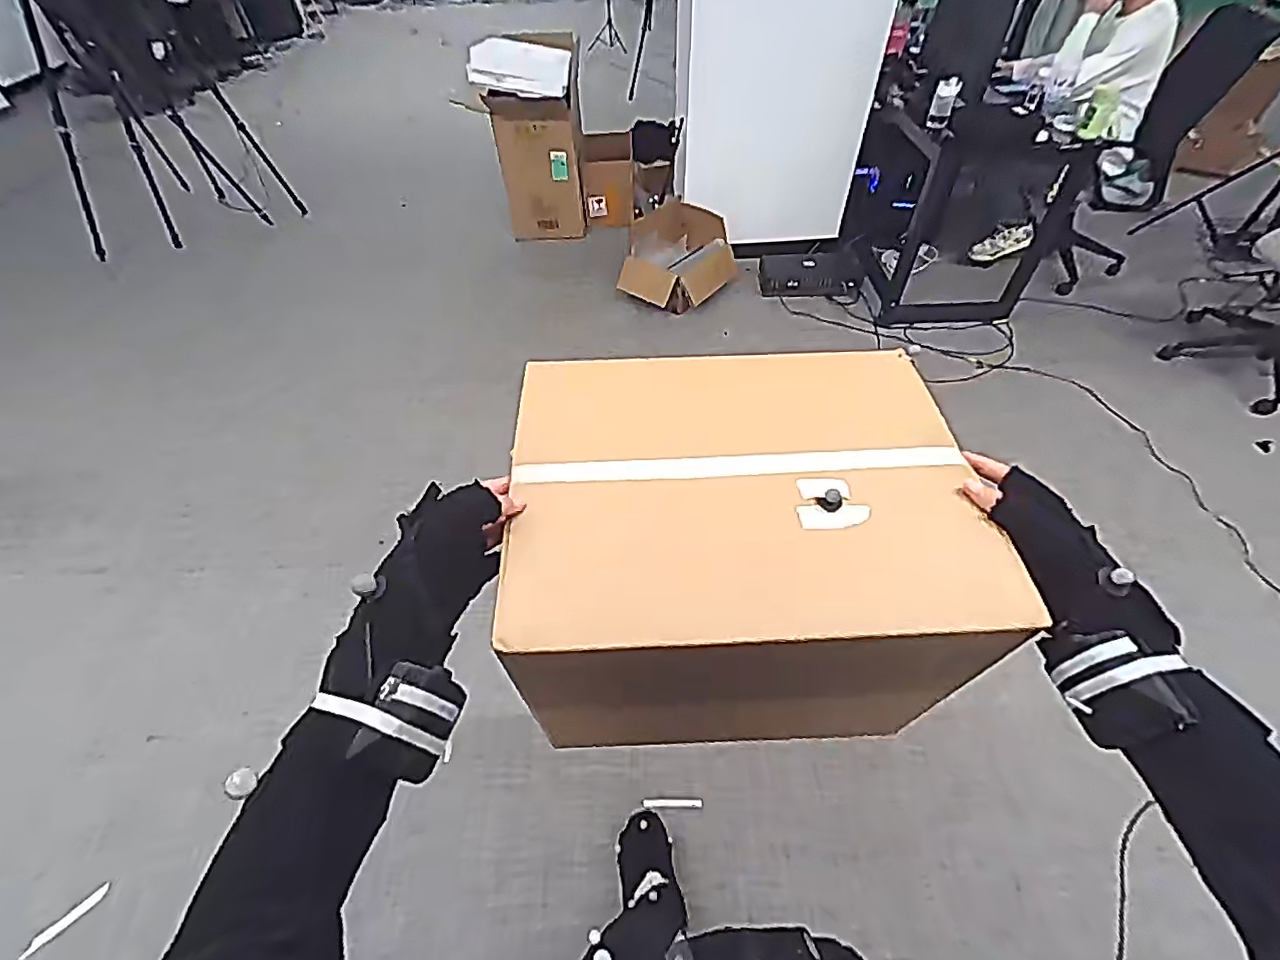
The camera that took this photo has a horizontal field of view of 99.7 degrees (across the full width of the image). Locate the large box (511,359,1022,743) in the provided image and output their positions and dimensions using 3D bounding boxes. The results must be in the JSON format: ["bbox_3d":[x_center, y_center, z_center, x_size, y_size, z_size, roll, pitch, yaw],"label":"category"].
[{"bbox_3d":[0.089,0.087,0.616,0.408,0.320,0.320,-2,52,-2],"label":"large box"}]
